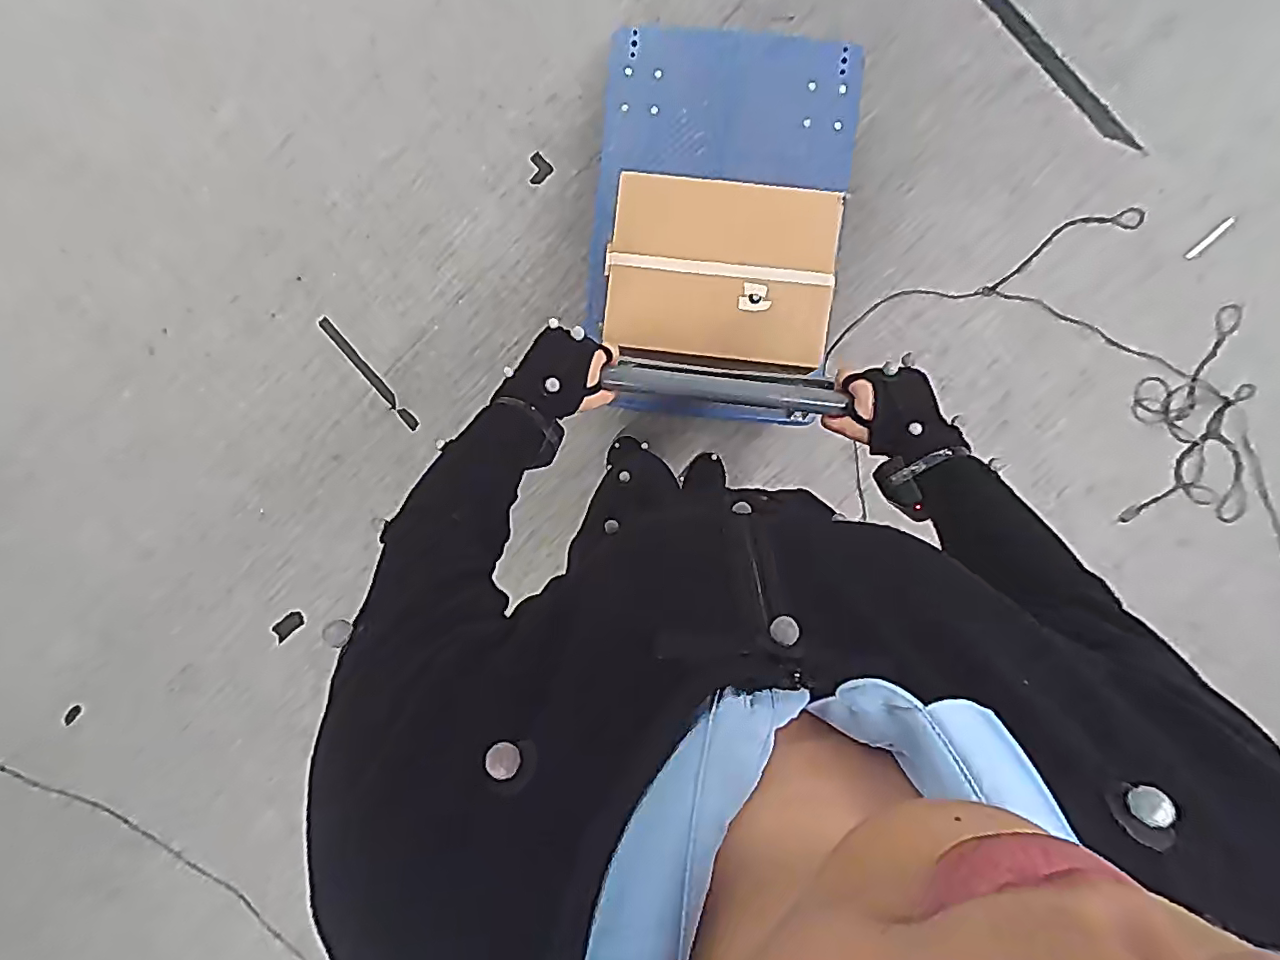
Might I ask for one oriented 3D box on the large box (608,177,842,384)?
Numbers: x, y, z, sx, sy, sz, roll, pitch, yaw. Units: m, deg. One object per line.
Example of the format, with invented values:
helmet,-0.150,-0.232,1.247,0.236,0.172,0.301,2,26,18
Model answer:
large box,0.155,-0.388,1.133,0.408,0.320,0.320,7,95,2
